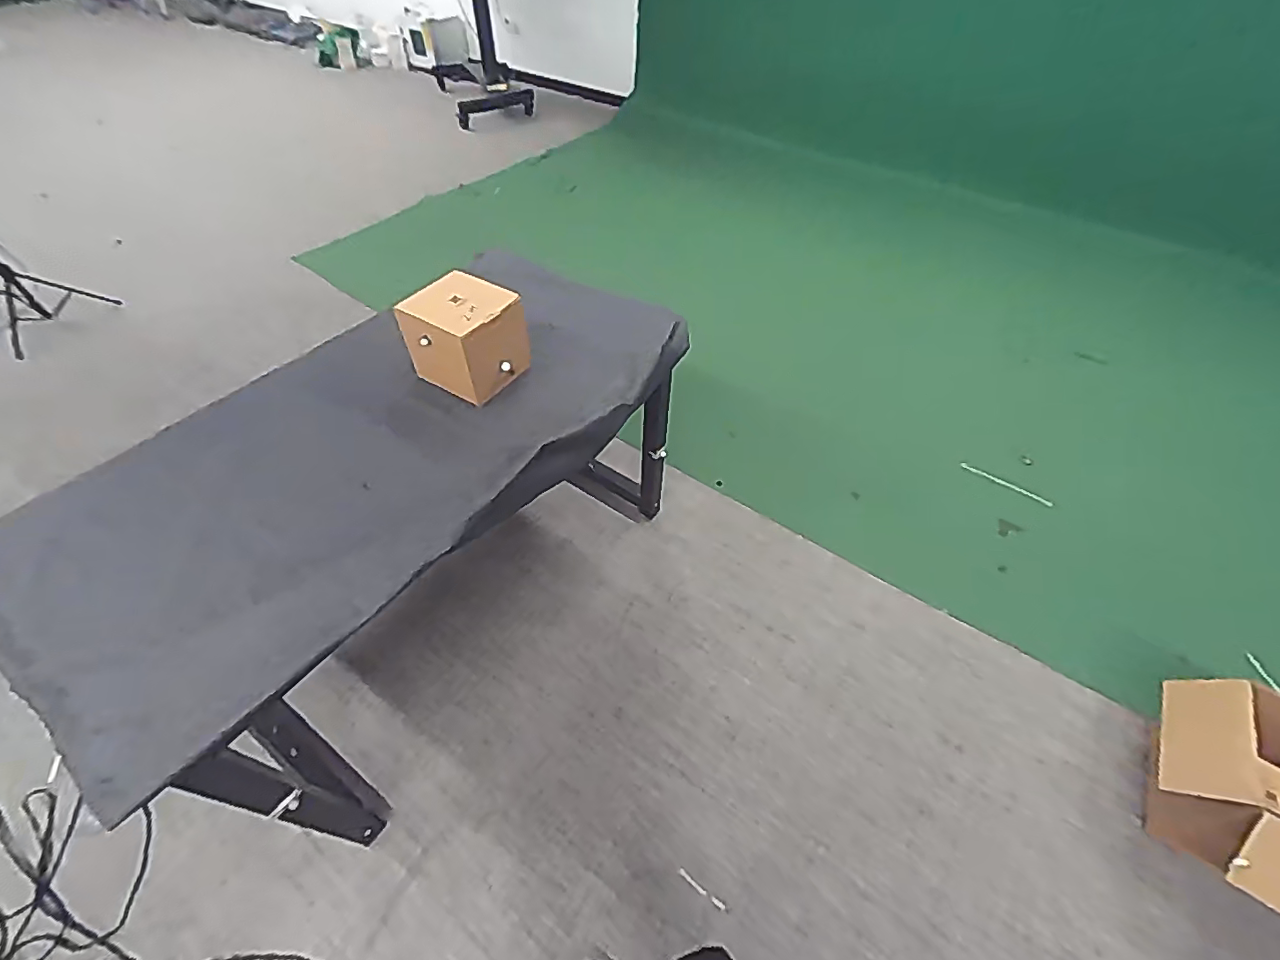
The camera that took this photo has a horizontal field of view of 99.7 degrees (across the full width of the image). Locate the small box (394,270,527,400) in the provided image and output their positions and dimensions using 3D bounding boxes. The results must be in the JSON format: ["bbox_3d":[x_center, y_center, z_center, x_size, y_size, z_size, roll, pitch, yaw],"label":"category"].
[{"bbox_3d":[-0.351,-0.288,1.087,0.179,0.176,0.168,27,54,19],"label":"small box"}]
